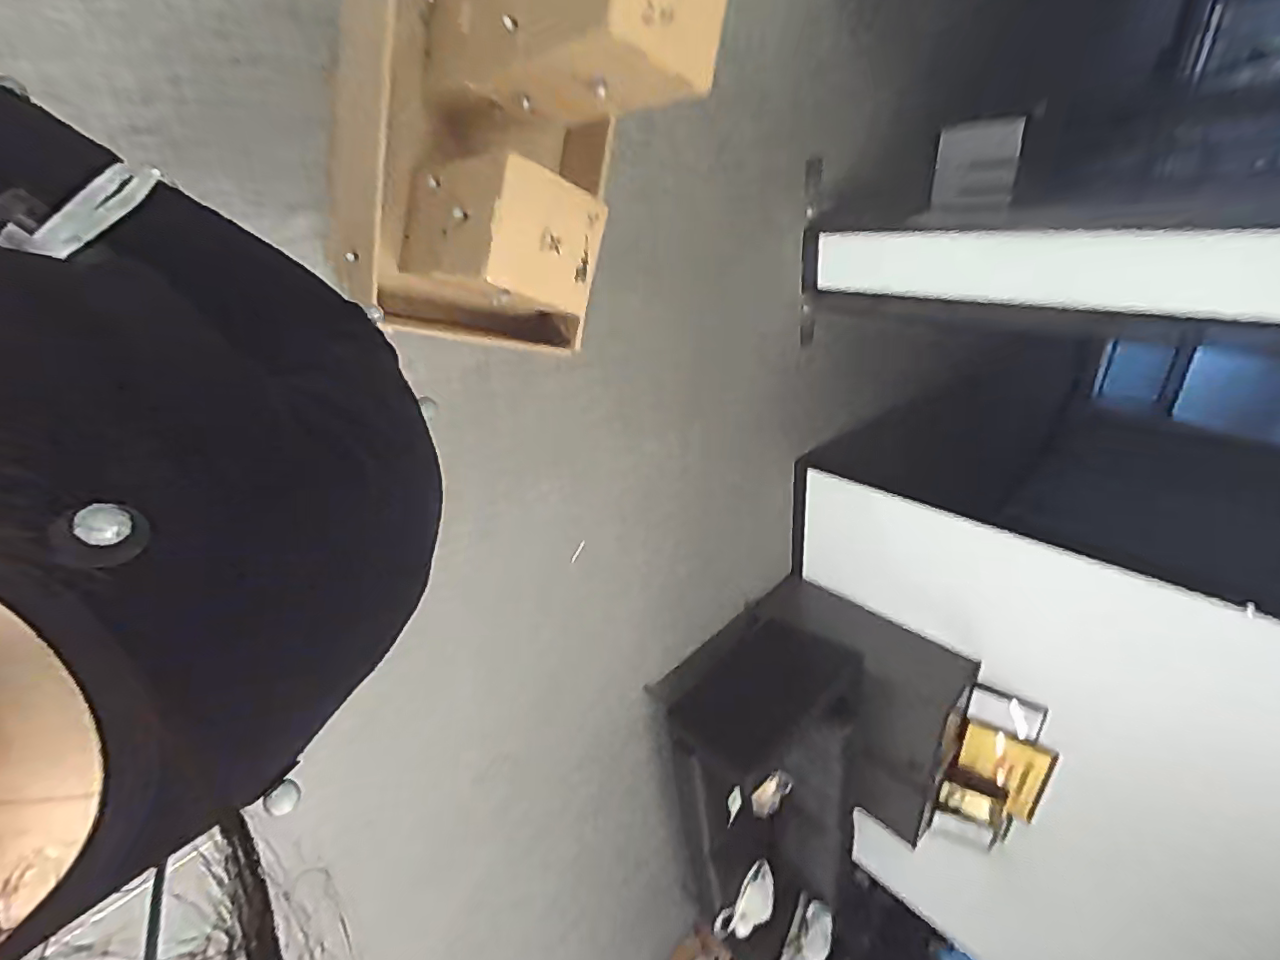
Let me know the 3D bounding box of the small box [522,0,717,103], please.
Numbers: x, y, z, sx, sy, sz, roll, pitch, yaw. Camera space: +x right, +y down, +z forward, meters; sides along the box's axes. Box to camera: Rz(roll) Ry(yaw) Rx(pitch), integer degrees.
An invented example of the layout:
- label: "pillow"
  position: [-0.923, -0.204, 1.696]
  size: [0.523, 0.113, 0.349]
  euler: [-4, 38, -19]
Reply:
- label: "small box"
  position: [-0.023, -0.584, 0.641]
  size: [0.168, 0.176, 0.179]
  euler: [-6, 114, -43]

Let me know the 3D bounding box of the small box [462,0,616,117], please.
- label: "small box"
  position: [-0.132, -0.639, 0.752]
  size: [0.168, 0.176, 0.179]
  euler: [-5, 113, -44]

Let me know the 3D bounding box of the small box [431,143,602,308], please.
- label: "small box"
  position: [-0.191, -0.371, 0.815]
  size: [0.179, 0.176, 0.168]
  euler: [5, 105, -46]
